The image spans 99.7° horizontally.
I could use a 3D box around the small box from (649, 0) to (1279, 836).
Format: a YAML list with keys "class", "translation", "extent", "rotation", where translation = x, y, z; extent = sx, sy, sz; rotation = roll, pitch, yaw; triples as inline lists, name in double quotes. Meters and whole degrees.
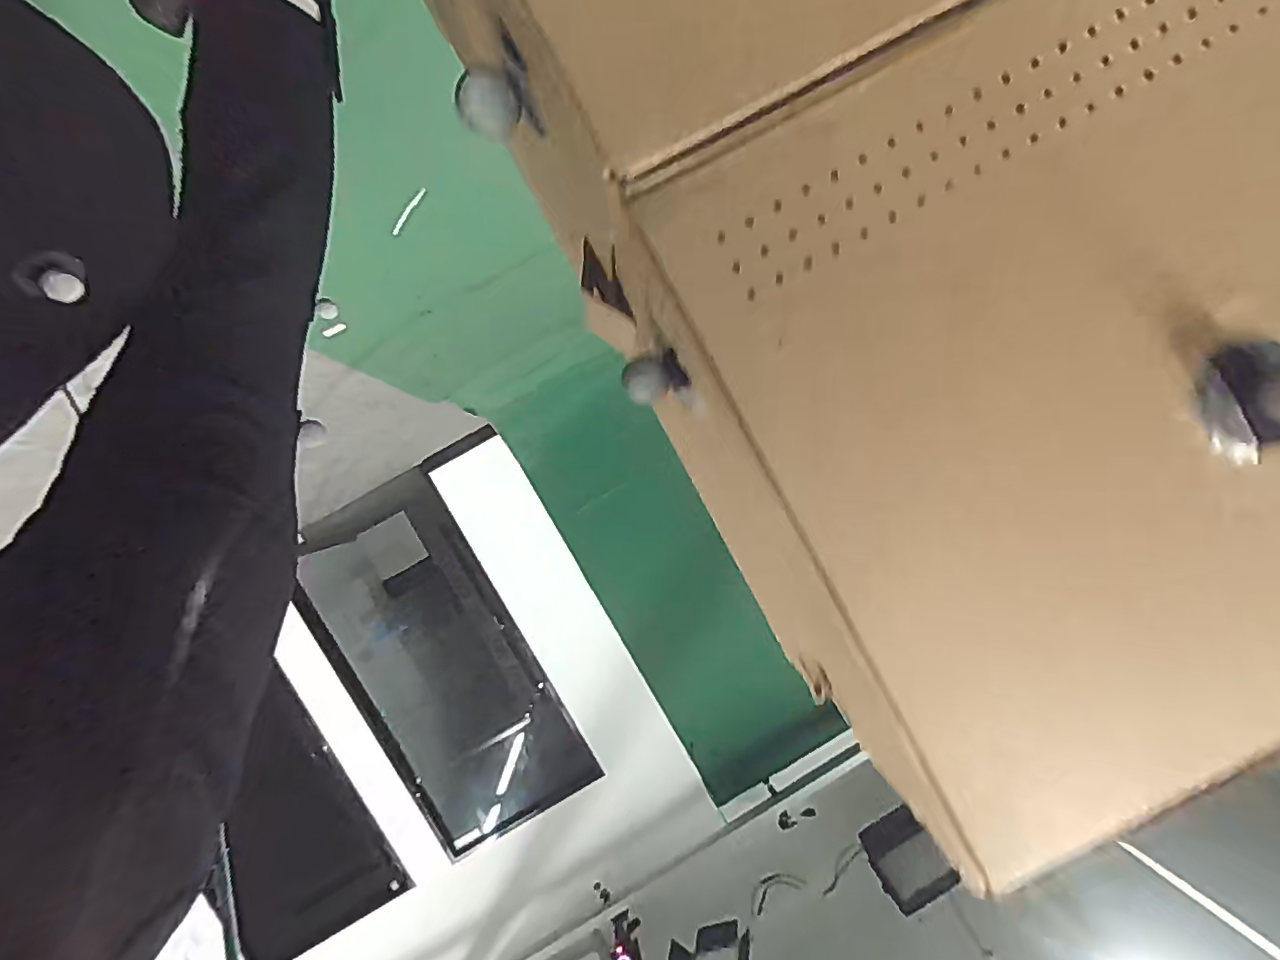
- class: "small box"
  translation: [0.112, -0.030, 0.198]
  extent: [0.179, 0.176, 0.168]
  rotation: [-27, -176, 4]
